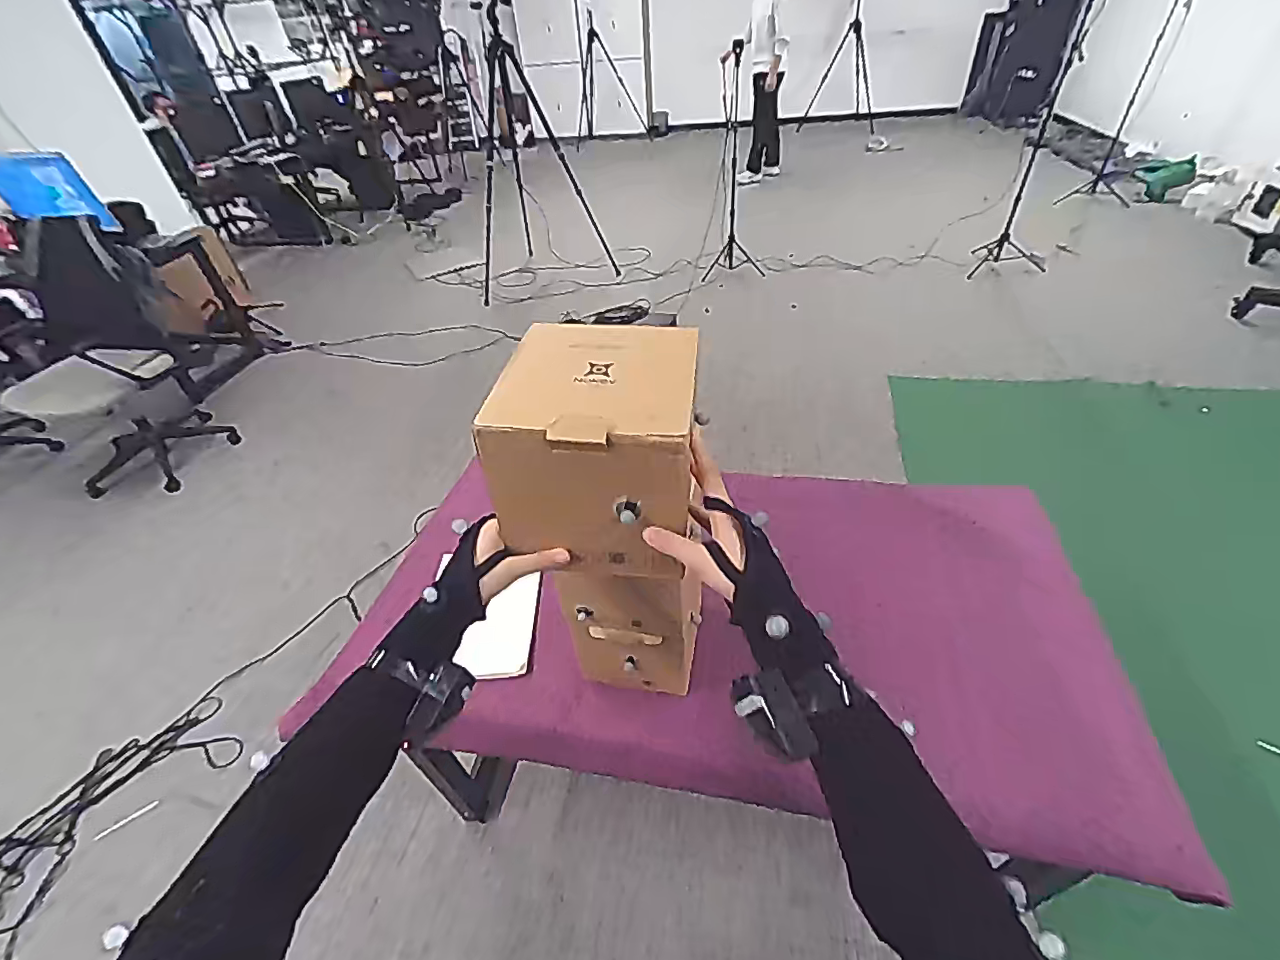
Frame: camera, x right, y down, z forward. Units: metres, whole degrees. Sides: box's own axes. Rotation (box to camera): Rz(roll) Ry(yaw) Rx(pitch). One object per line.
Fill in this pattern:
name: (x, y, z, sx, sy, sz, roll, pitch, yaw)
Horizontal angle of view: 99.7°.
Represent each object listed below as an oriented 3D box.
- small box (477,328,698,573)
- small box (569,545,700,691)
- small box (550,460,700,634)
small box: (-0.032, -0.030, 0.523, 0.168, 0.176, 0.179, 4, 42, 7)
small box: (0.003, 0.206, 0.848, 0.168, 0.176, 0.179, 5, 43, 12)
small box: (-0.010, 0.085, 0.736, 0.168, 0.176, 0.179, 5, 41, 12)
